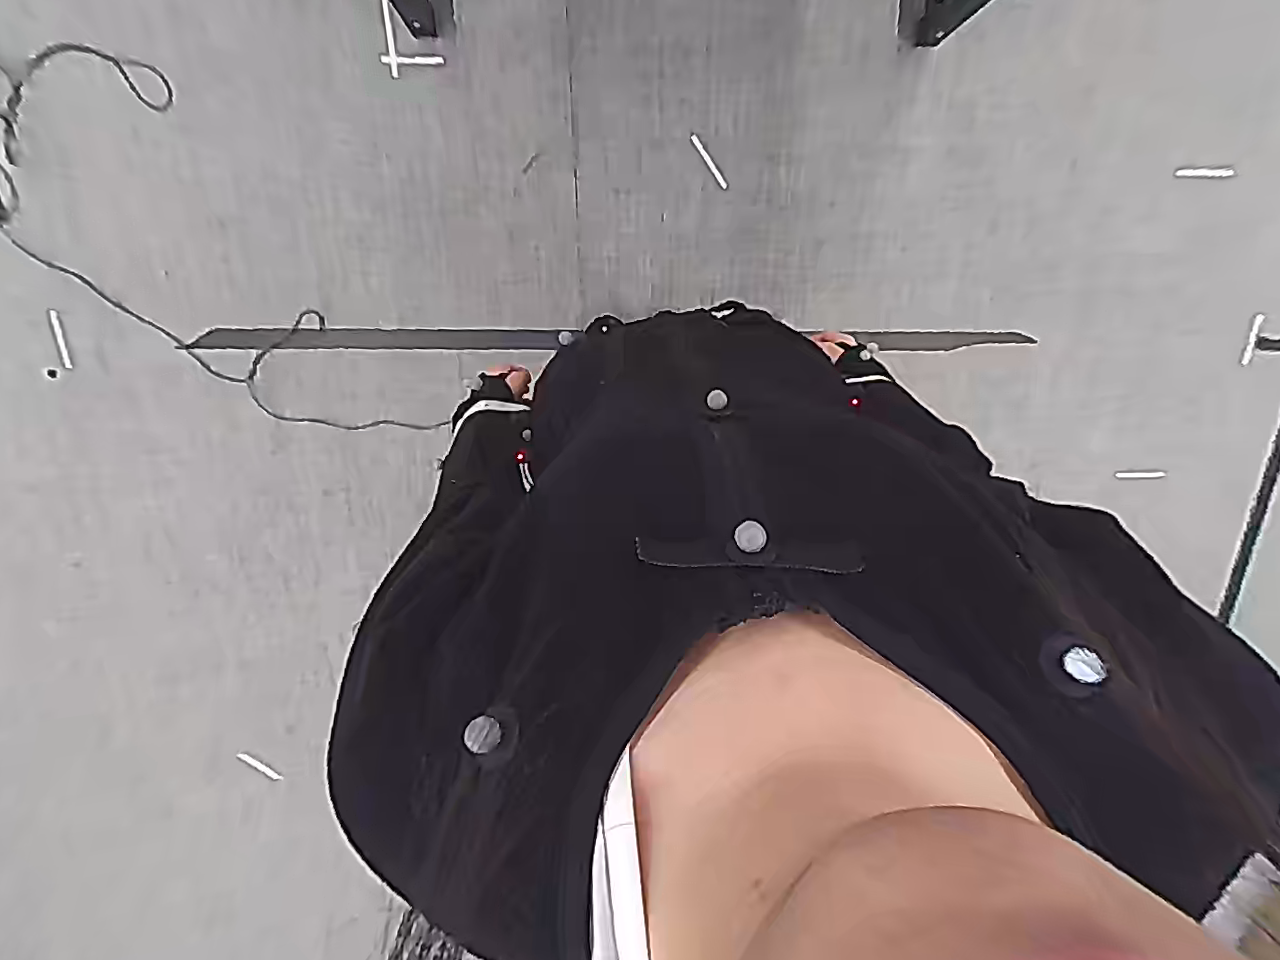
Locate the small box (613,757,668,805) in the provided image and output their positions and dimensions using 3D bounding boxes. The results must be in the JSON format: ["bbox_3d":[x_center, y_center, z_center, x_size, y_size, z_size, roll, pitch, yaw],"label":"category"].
[{"bbox_3d":[0.001,1.013,1.730,0.168,0.176,0.179,-5,107,-2],"label":"small box"}]

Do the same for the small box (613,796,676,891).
[{"bbox_3d":[0.012,1.064,1.575,0.168,0.176,0.179,-7,108,-2],"label":"small box"}]

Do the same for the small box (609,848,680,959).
[{"bbox_3d":[0.011,1.111,1.416,0.168,0.176,0.179,-6,106,-1],"label":"small box"}]
